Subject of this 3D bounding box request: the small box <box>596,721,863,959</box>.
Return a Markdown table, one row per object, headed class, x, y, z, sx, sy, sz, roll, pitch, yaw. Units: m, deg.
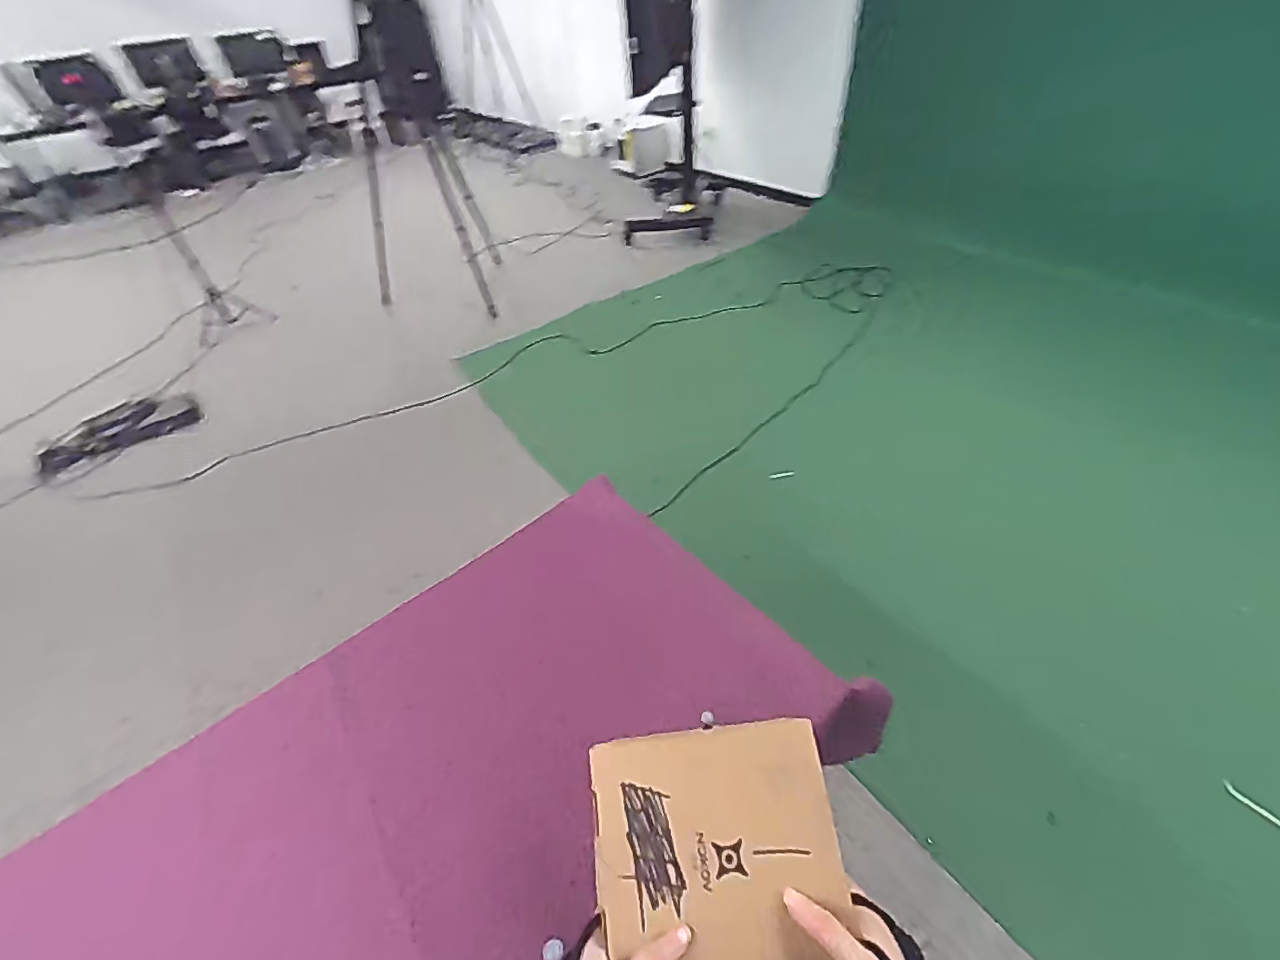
| class | x | y | z | sx | sy | sz | roll | pitch | yaw |
| --- | --- | --- | --- | --- | --- | --- | --- | --- | --- |
| small box | 0.067 | 0.302 | 0.461 | 0.179 | 0.176 | 0.168 | -7 | 66 | 4 |
